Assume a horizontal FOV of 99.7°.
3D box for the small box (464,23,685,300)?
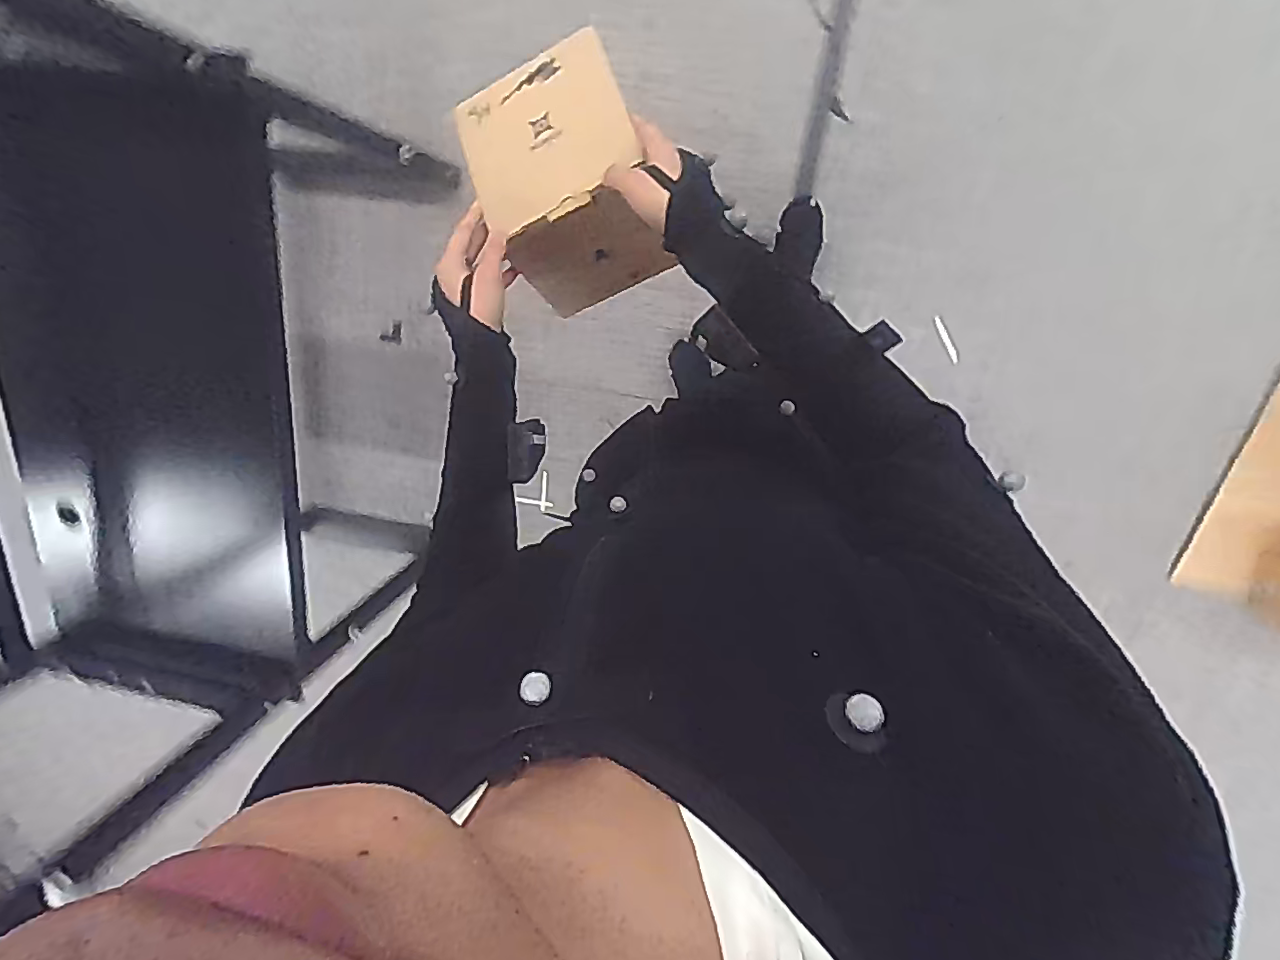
[{"bbox_3d":[-0.061,-0.325,0.598,0.168,0.176,0.179,-20,77,12],"label":"small box"}]
